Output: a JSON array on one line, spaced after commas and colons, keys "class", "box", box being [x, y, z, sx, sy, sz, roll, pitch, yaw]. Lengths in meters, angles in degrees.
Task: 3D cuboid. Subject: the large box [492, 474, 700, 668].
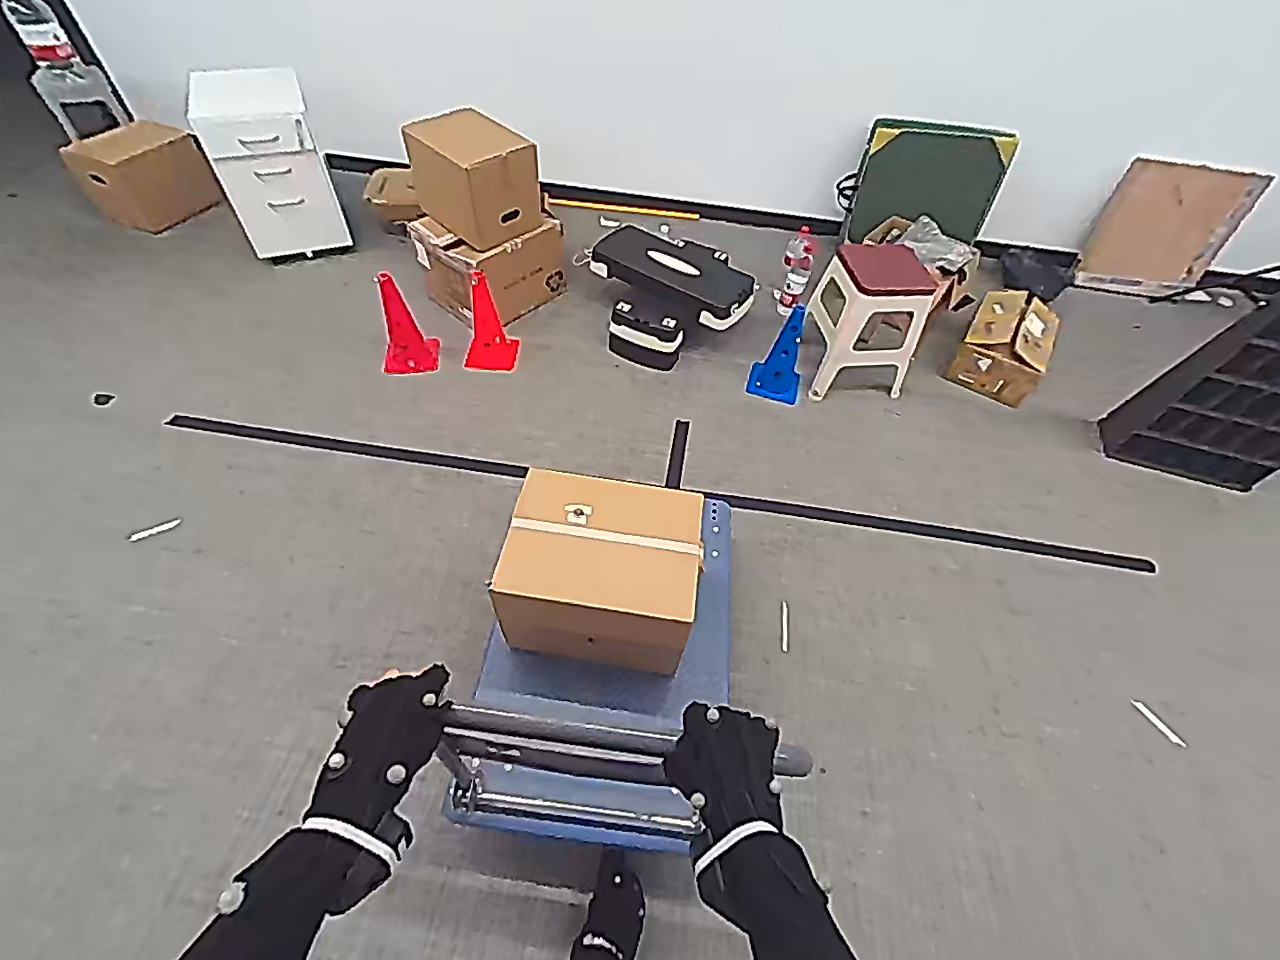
[{"class": "large box", "box": [-0.084, 0.220, 1.268, 0.408, 0.320, 0.320, 8, 52, 3]}]
